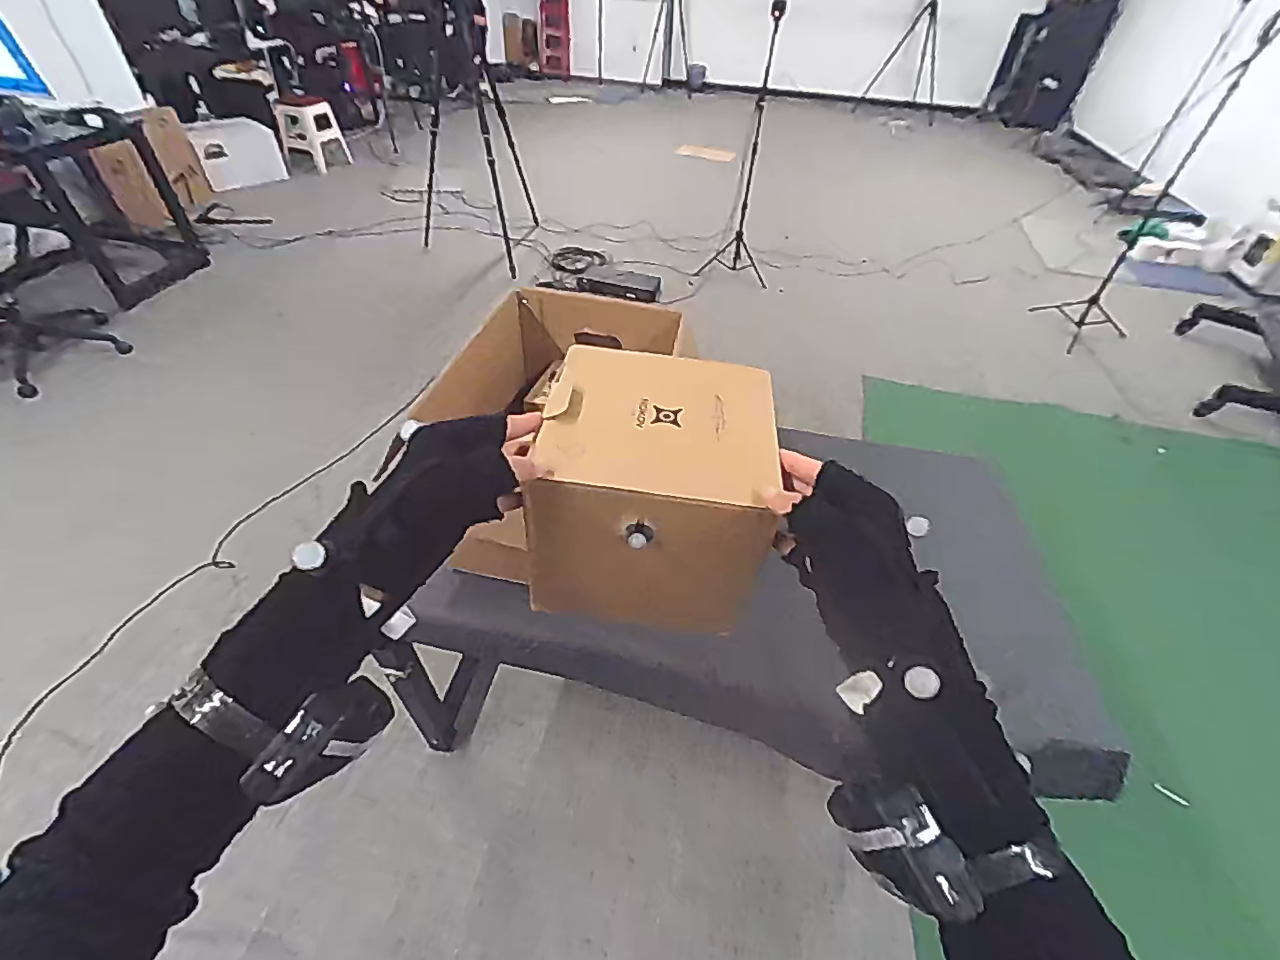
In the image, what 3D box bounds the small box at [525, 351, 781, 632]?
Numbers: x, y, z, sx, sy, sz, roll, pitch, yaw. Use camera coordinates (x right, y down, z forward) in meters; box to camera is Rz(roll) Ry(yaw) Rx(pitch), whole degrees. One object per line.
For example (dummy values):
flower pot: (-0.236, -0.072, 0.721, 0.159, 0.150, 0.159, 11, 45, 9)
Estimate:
small box: (0.010, 0.013, 0.469, 0.179, 0.176, 0.168, 8, 45, 0)
